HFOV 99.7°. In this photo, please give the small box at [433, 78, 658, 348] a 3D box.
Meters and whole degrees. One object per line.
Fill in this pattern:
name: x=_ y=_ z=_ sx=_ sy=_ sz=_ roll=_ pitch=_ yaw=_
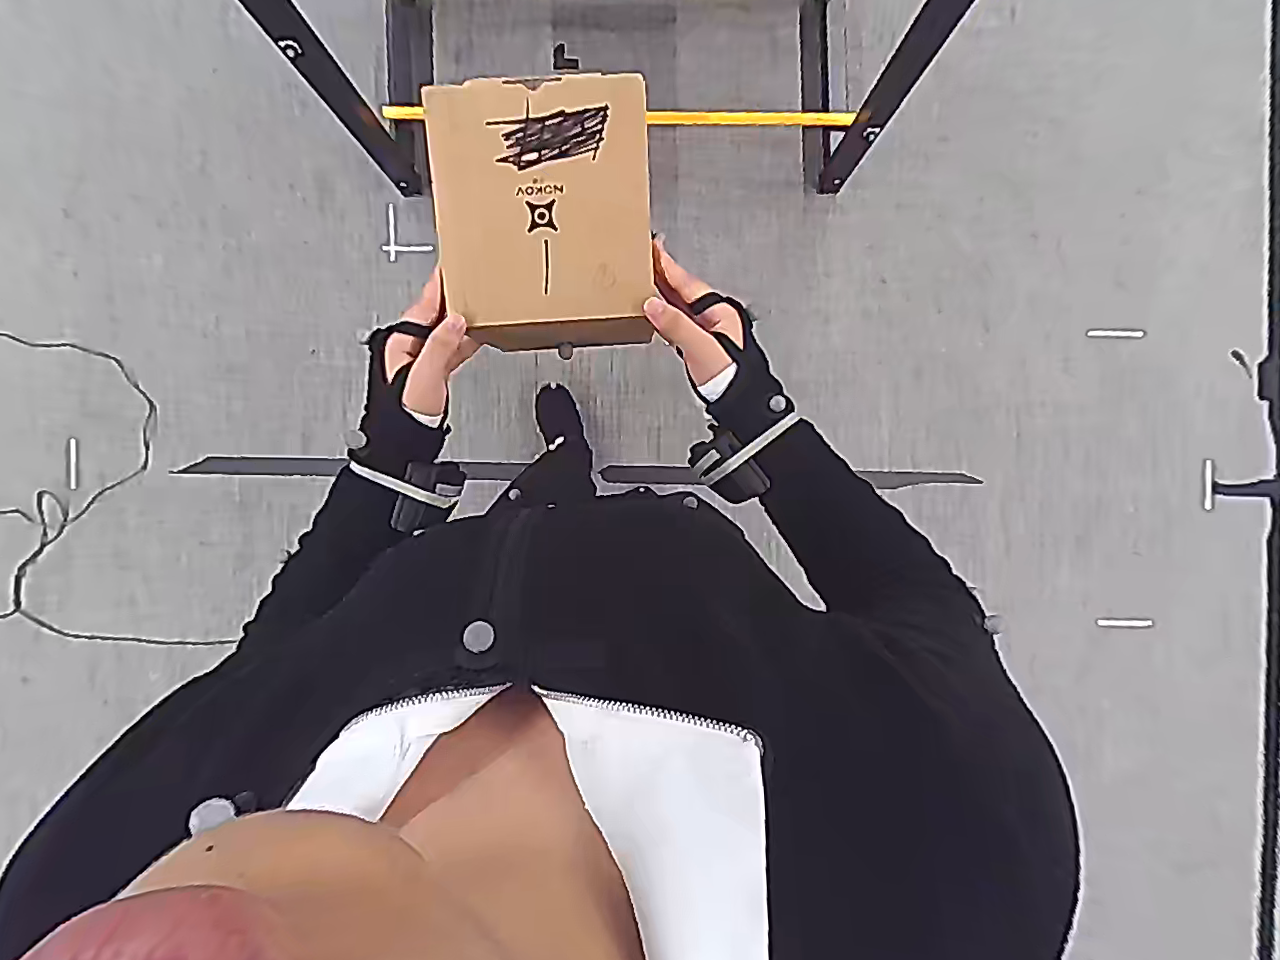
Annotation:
small box: x=-0.072 y=-0.223 z=0.495 sx=0.168 sy=0.176 sz=0.179 roll=-3 pitch=98 yaw=1
